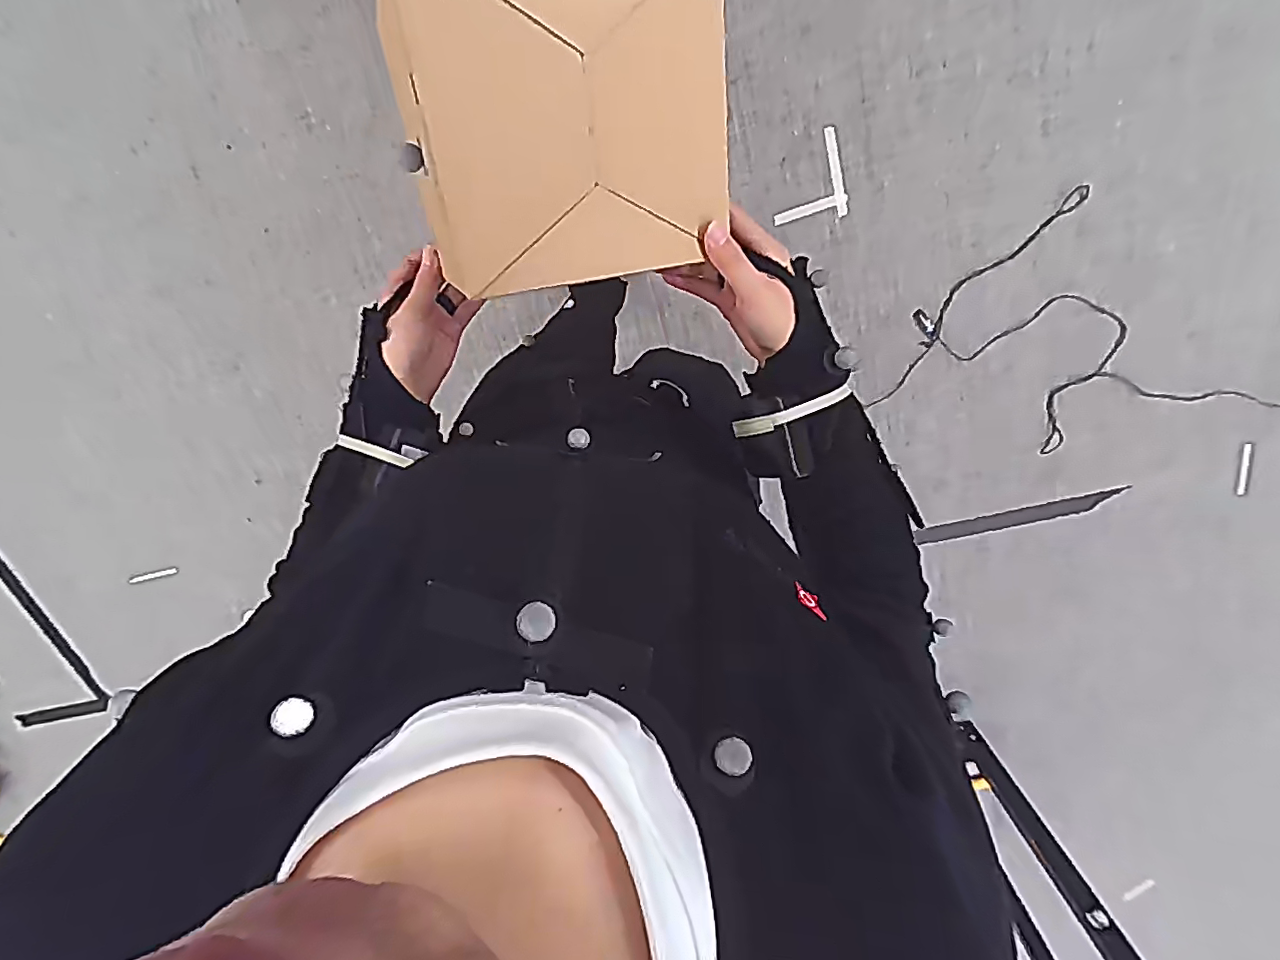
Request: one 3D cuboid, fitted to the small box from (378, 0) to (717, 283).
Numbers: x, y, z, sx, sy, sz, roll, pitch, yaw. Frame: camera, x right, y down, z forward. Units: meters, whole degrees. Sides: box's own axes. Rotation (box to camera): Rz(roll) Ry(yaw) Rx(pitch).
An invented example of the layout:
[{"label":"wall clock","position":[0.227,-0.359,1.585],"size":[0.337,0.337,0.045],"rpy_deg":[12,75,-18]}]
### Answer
[{"label":"small box","position":[-0.062,-0.236,0.370],"size":[0.179,0.176,0.168],"rpy_deg":[-17,119,-19]}]
